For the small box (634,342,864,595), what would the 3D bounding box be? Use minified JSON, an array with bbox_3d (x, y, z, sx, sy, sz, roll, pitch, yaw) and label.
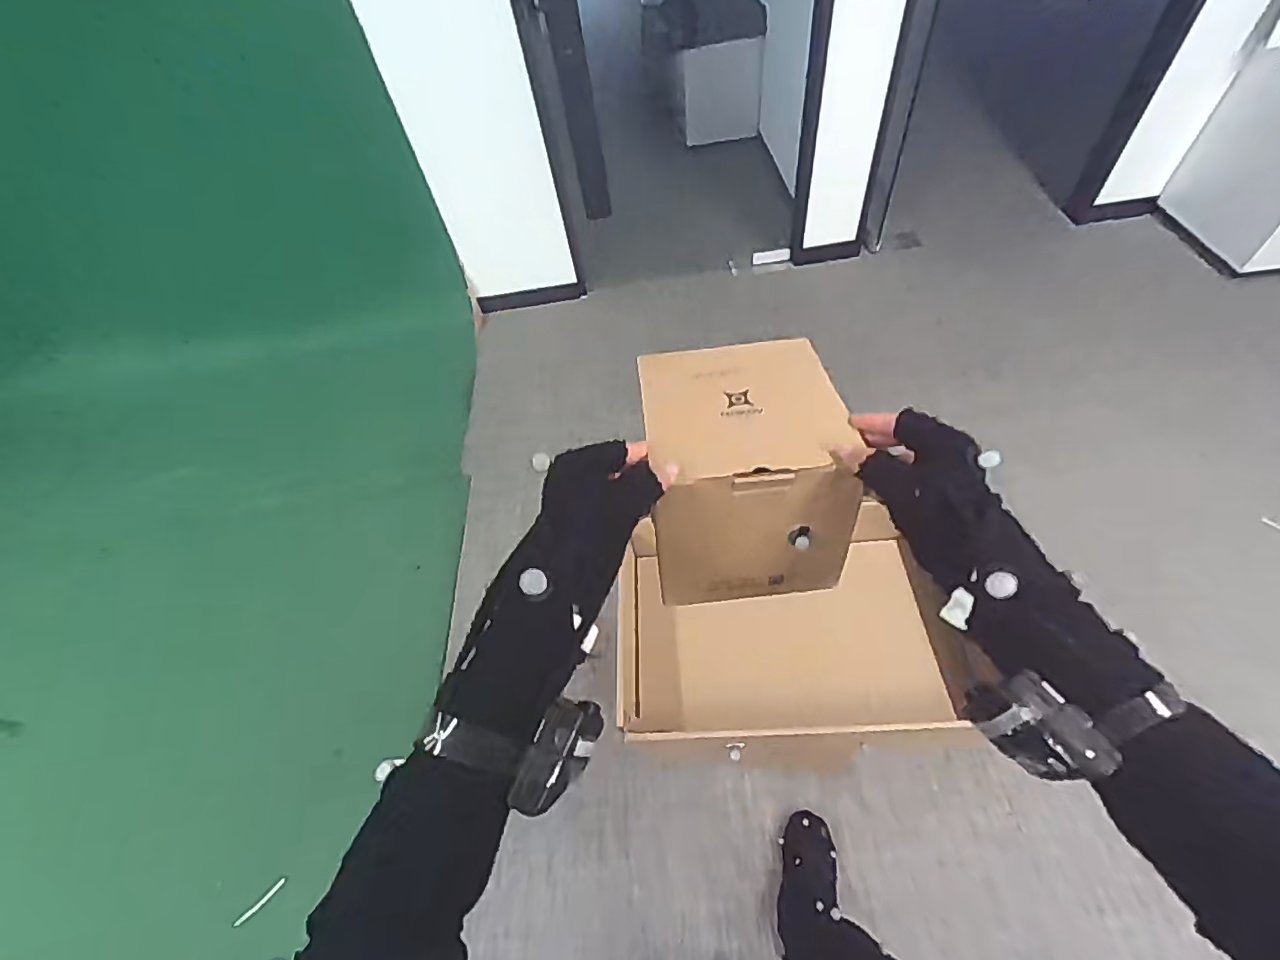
[{"bbox_3d":[0.087,-0.005,0.510,0.168,0.176,0.179,-6,44,0],"label":"small box"}]
